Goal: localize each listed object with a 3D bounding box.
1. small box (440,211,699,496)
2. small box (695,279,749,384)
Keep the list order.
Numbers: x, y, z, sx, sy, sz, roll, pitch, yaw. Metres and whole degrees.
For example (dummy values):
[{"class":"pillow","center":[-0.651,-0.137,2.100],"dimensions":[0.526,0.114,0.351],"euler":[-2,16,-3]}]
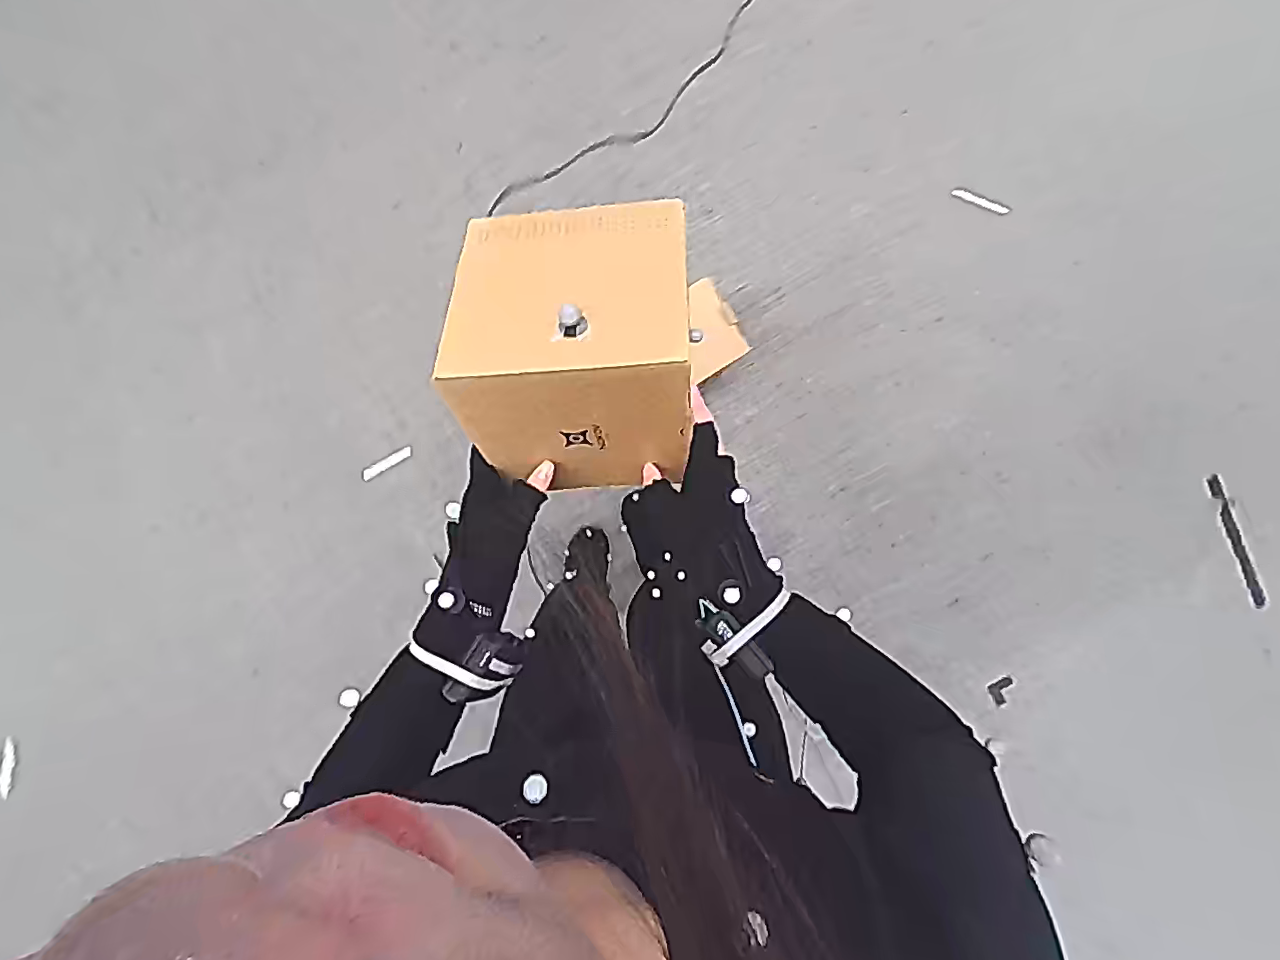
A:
[{"class":"small box","center":[-0.040,-0.099,0.459],"dimensions":[0.179,0.168,0.176],"euler":[-3,62,5]},{"class":"small box","center":[0.093,-0.279,1.112],"dimensions":[0.179,0.176,0.168],"euler":[-32,96,1]}]
